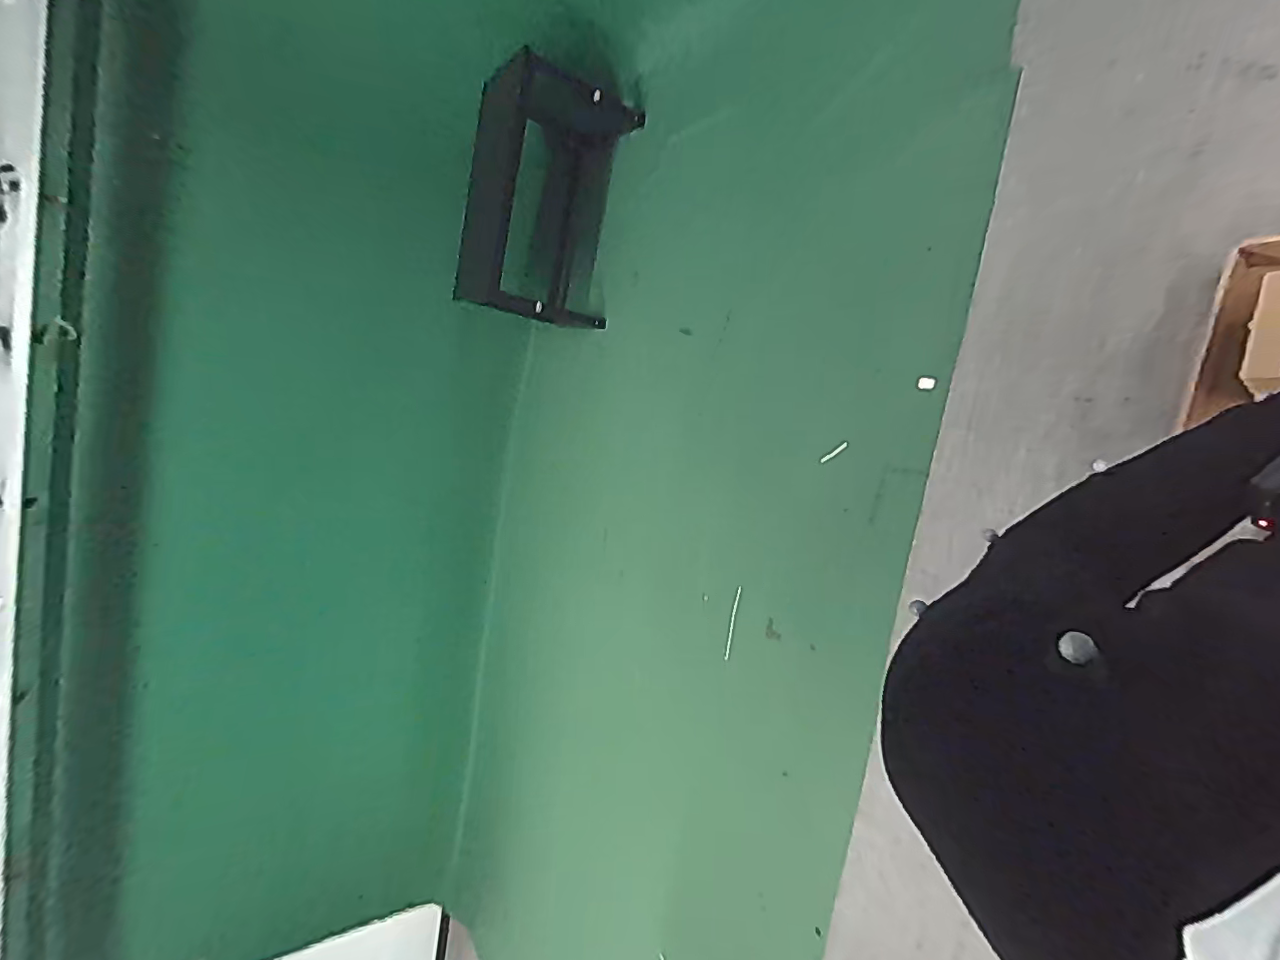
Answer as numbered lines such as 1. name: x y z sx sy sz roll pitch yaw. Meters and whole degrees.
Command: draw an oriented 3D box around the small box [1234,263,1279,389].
1. small box: 1.111 -0.247 0.876 0.168 0.176 0.179 16 99 53
